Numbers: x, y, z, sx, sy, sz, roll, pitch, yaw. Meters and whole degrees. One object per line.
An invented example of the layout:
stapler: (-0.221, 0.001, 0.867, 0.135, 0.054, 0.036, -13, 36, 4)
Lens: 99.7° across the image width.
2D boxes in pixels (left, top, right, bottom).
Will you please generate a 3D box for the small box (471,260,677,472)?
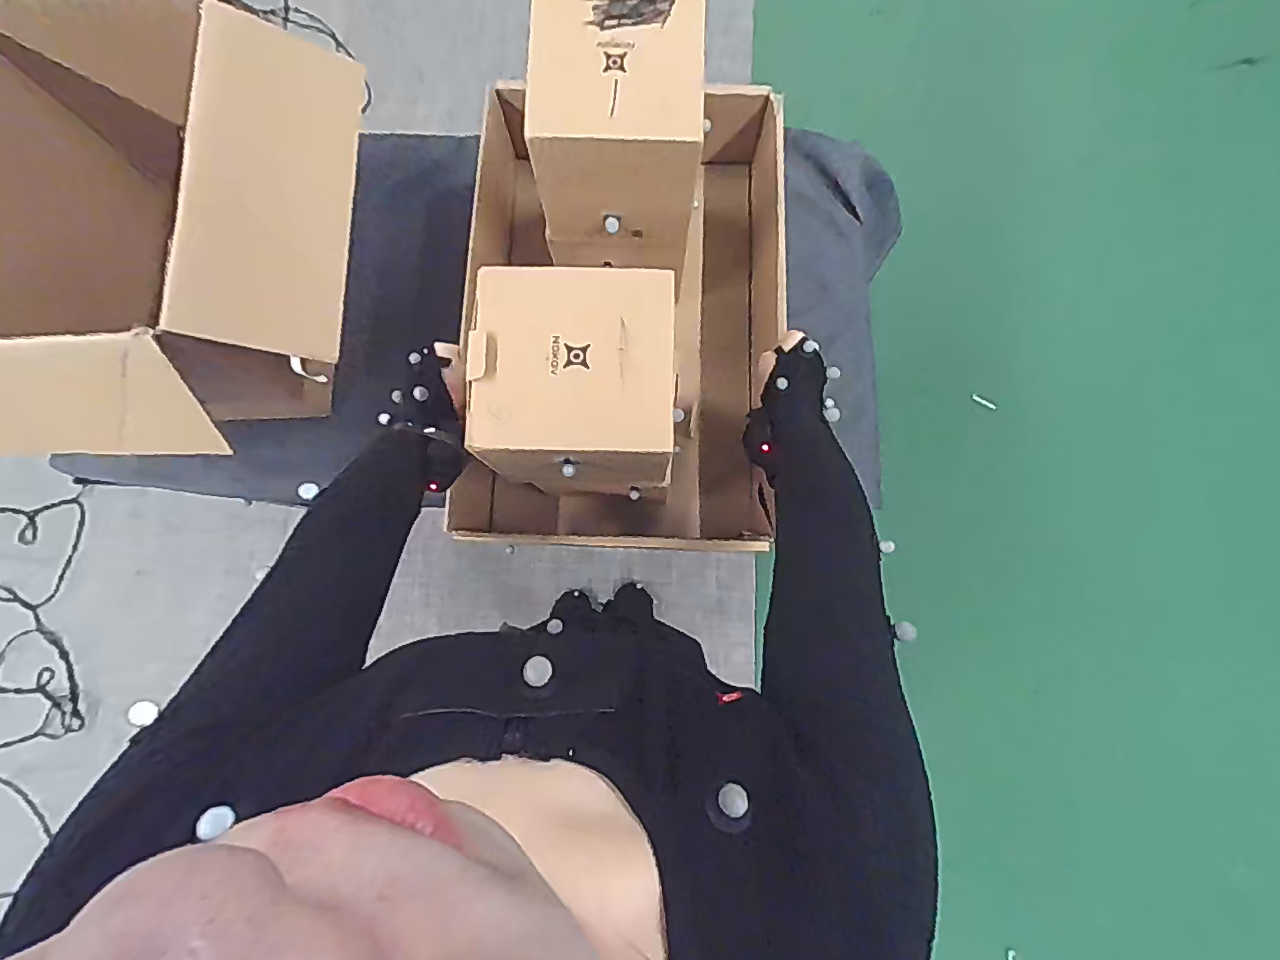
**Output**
small box: (-0.055, -0.101, 0.546, 0.179, 0.176, 0.168, 1, 82, -1)

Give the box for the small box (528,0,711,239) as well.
small box: (-0.019, -0.390, 0.581, 0.168, 0.176, 0.179, 2, 84, 0)
